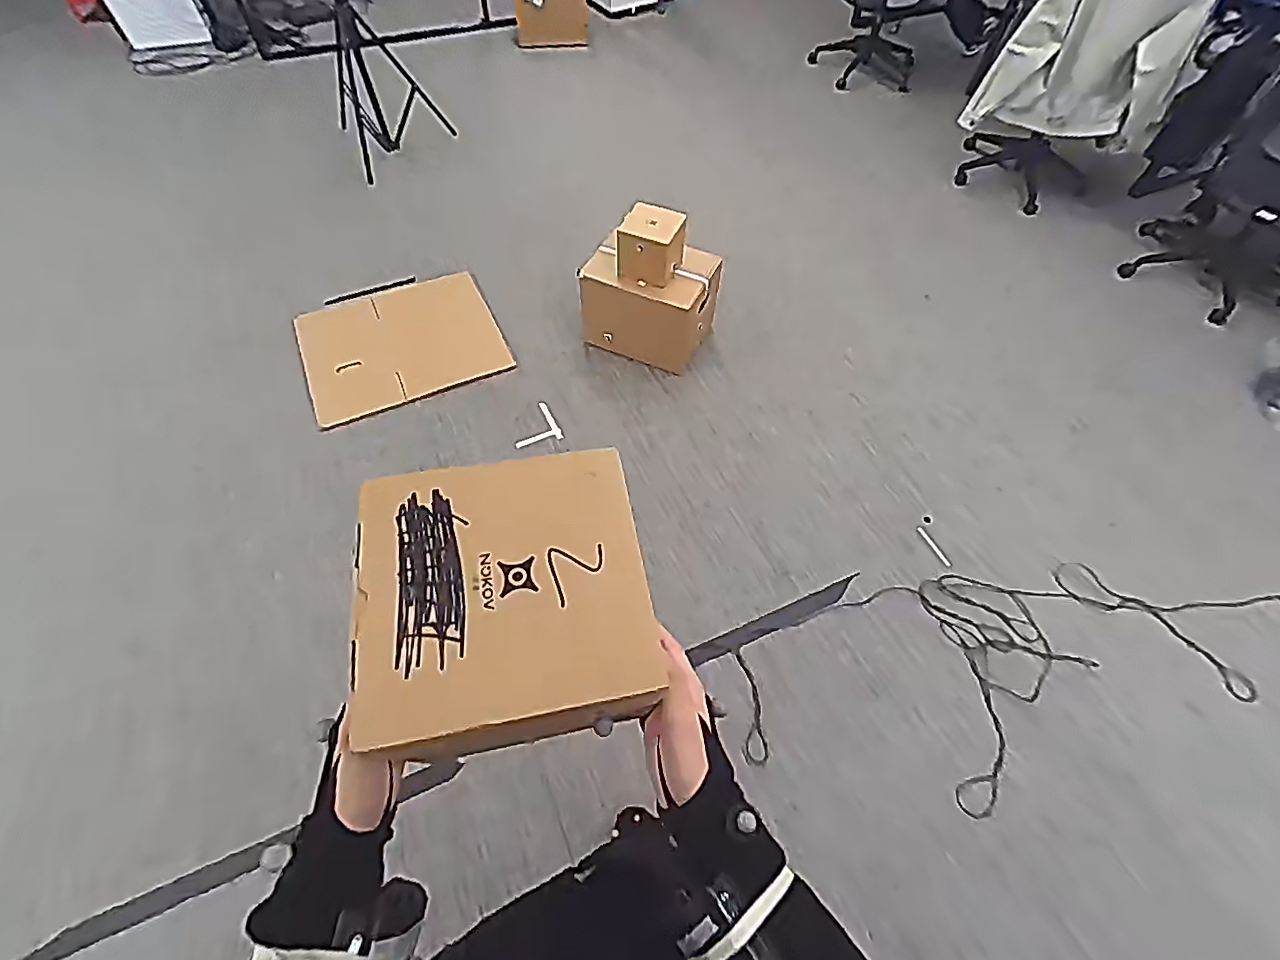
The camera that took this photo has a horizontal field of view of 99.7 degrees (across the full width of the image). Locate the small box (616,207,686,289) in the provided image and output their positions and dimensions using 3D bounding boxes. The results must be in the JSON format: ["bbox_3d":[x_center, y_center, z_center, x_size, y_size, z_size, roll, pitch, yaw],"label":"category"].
[{"bbox_3d":[0.033,-0.752,1.763,0.179,0.176,0.168,20,61,10],"label":"small box"}]
